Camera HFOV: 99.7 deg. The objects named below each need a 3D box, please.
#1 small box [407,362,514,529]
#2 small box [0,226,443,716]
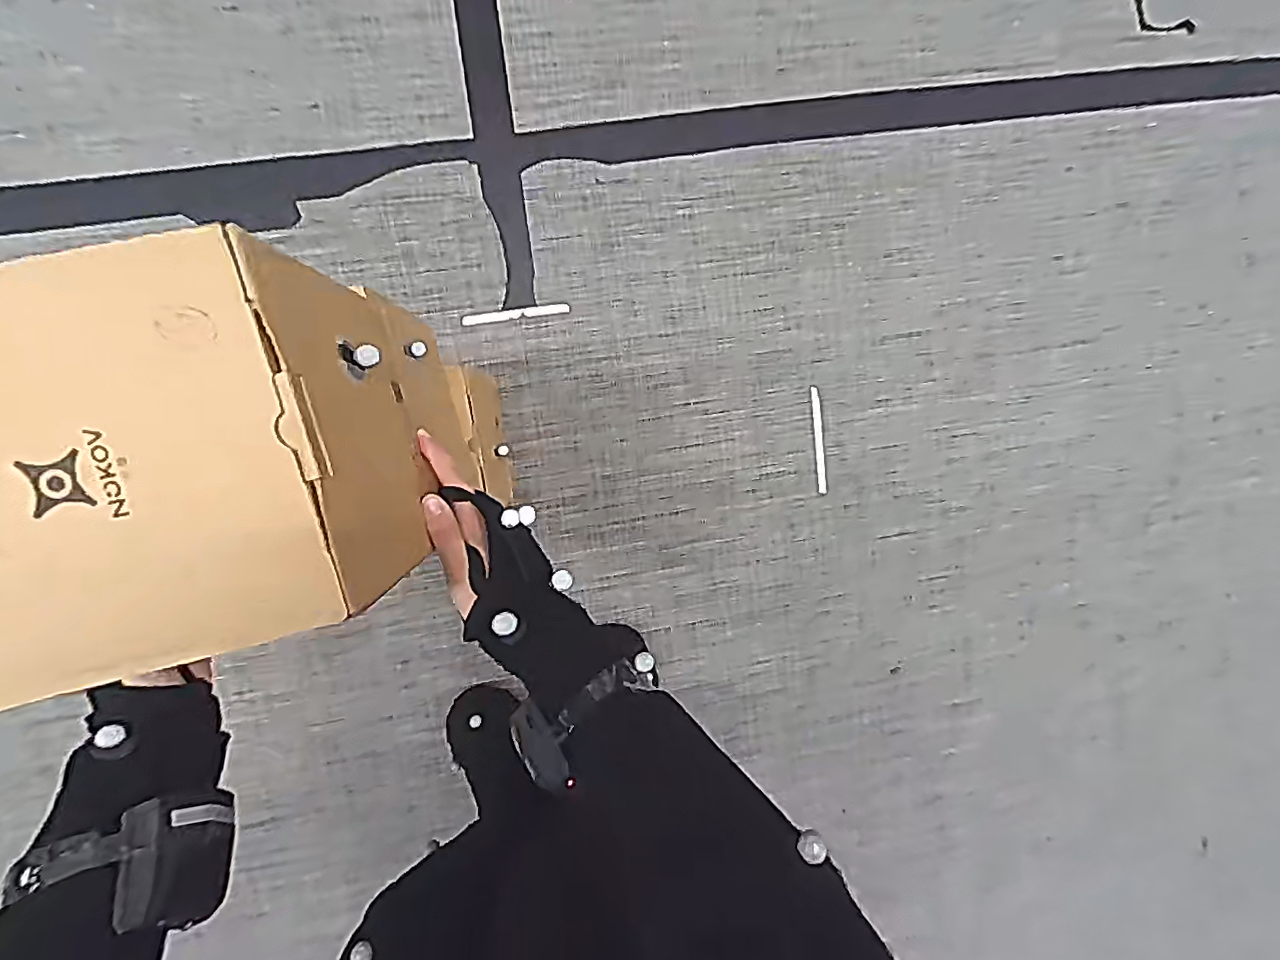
[{"bbox_3d":[-0.250,-0.034,0.613,0.179,0.176,0.168,-9,98,-6],"label":"small box"},{"bbox_3d":[-0.220,-0.008,0.287,0.179,0.176,0.168,-14,97,-4],"label":"small box"}]
